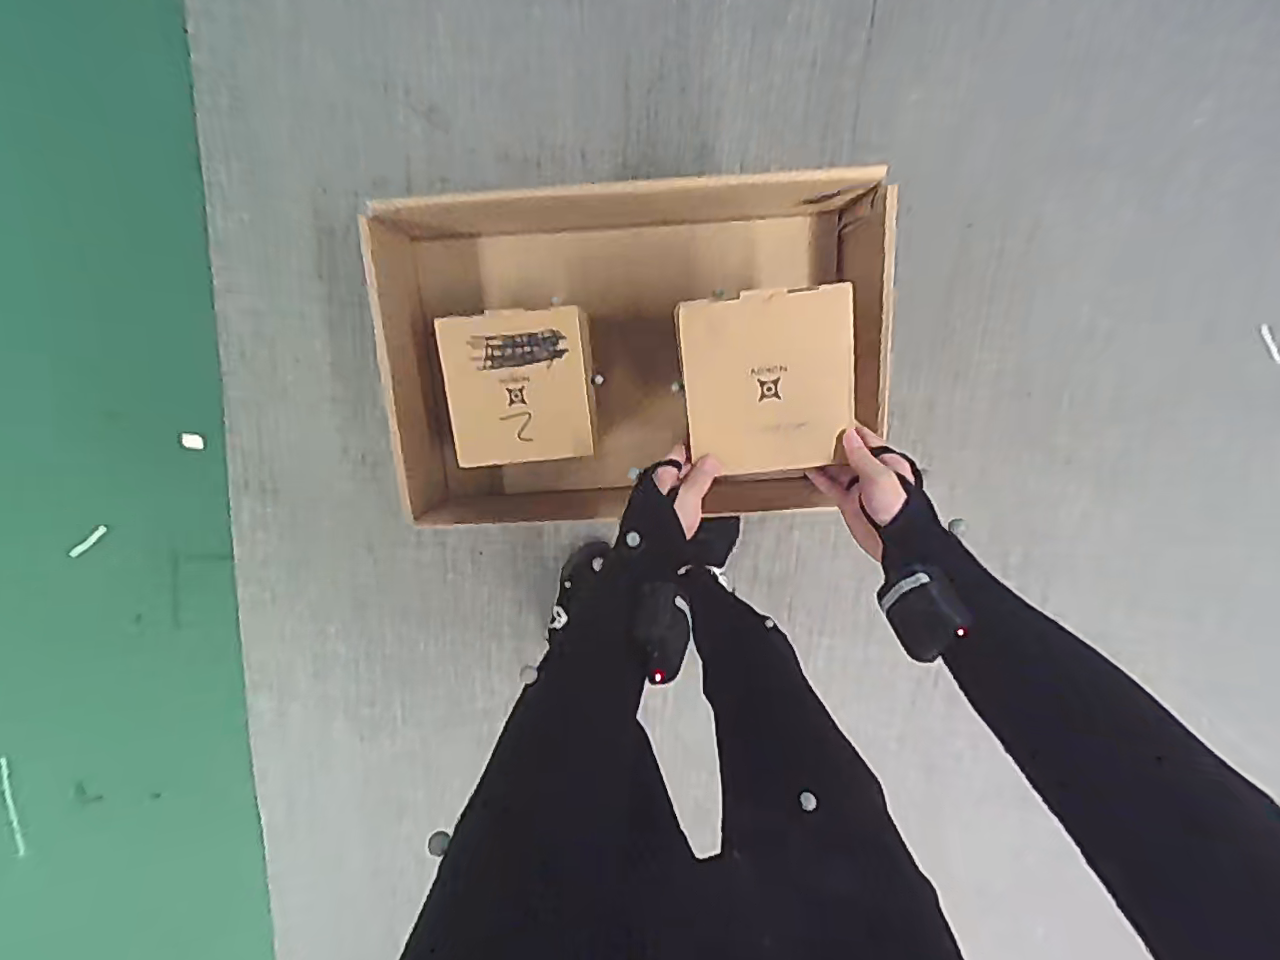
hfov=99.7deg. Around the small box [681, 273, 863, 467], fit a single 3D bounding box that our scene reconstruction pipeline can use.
[{"bbox_3d":[0.134,-0.122,0.599,0.168,0.176,0.179,-4,106,5],"label":"small box"}]
